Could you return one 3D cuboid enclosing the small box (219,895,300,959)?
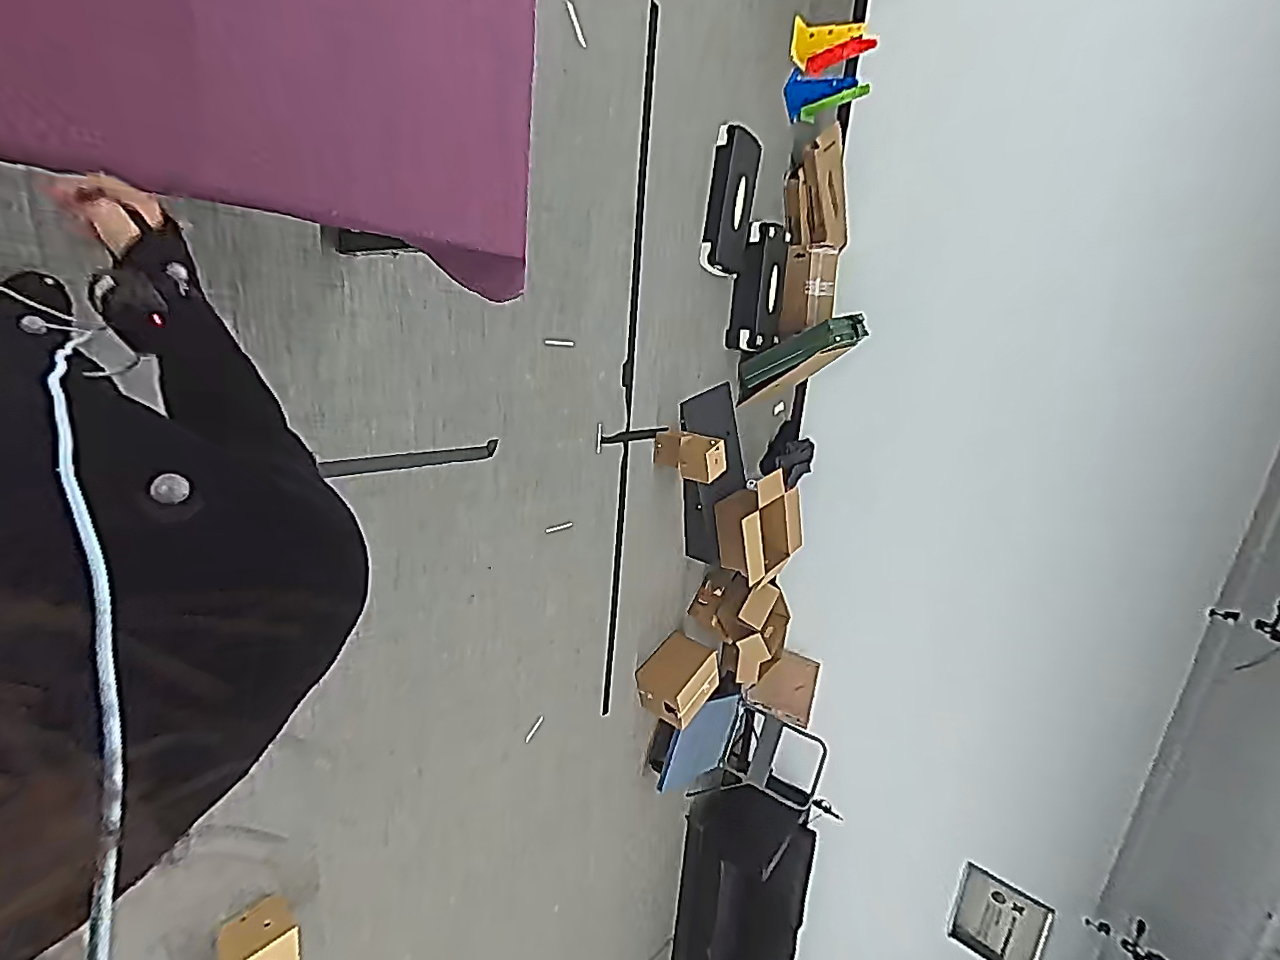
[{"bbox_3d":[-1.187,1.453,1.687,0.168,0.176,0.179,-12,113,-51],"label":"small box"}]
